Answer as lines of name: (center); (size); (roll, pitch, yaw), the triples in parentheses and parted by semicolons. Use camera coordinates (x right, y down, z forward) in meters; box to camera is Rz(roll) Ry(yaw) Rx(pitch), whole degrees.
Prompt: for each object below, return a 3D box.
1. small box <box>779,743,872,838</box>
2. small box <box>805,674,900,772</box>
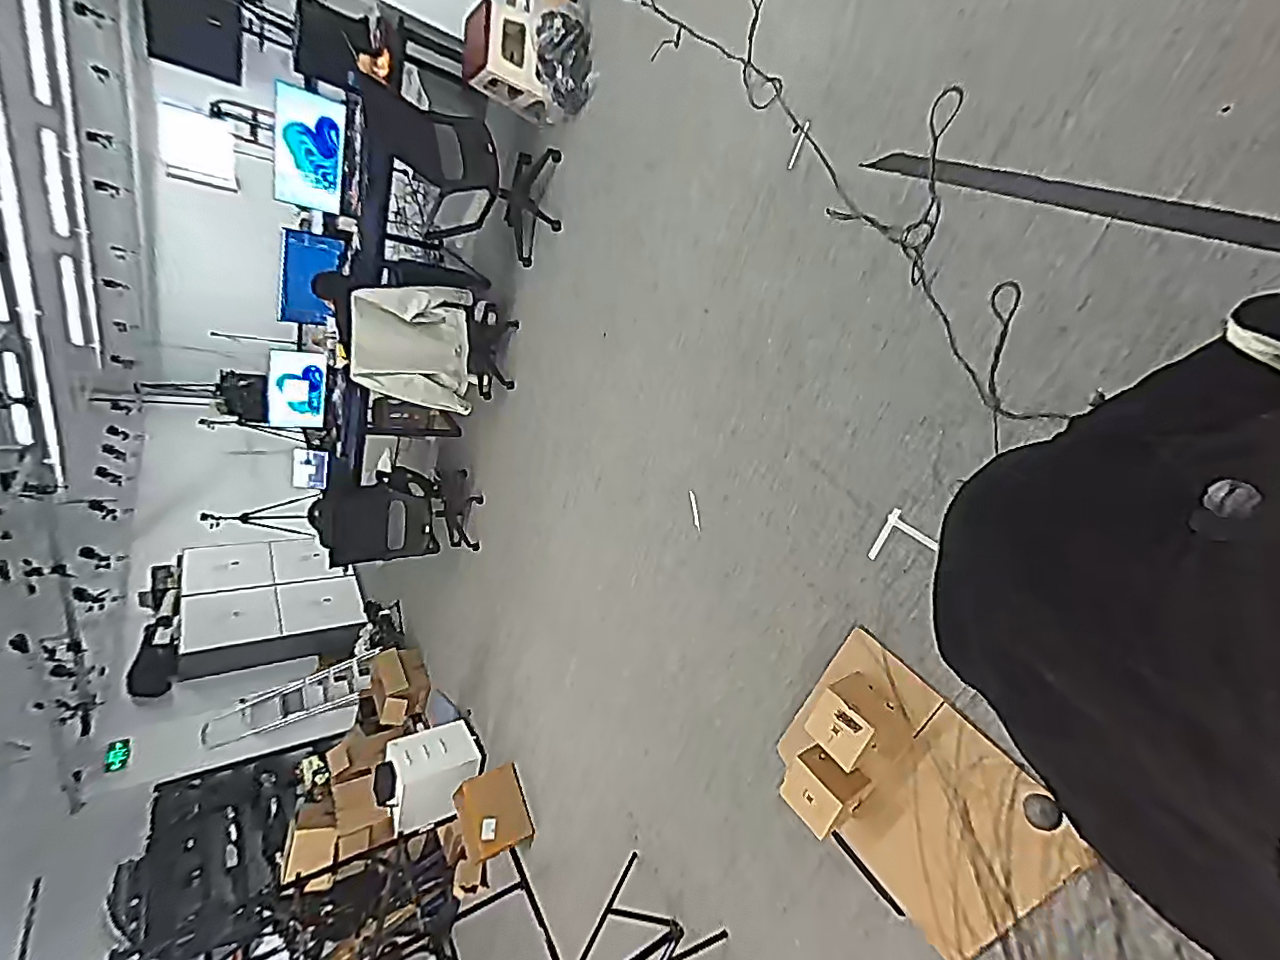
small box: (0.567, 0.934, 1.653); (0.179, 0.176, 0.168); (37, 122, 43)
small box: (0.621, 0.694, 1.568); (0.168, 0.176, 0.179); (41, 123, 43)
